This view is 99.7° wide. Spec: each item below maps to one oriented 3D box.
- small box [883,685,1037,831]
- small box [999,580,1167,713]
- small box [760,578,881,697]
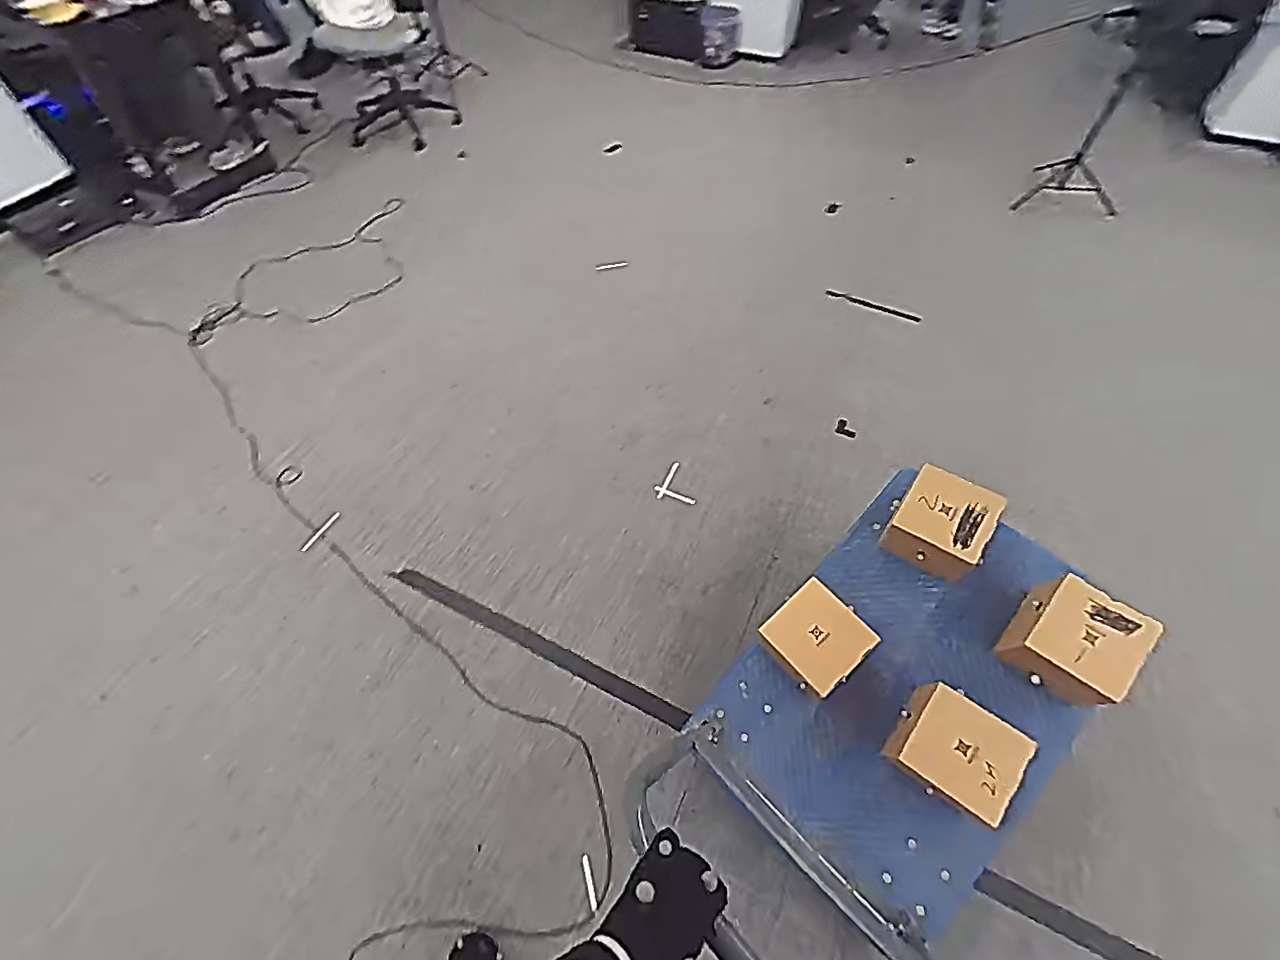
[{"bbox_3d":[0.590,0.519,1.025,0.179,0.176,0.168,34,77,24],"label":"small box"},{"bbox_3d":[0.846,0.326,1.054,0.168,0.176,0.179,37,79,24],"label":"small box"},{"bbox_3d":[0.373,0.343,1.153,0.168,0.176,0.179,-41,66,-7],"label":"small box"}]
